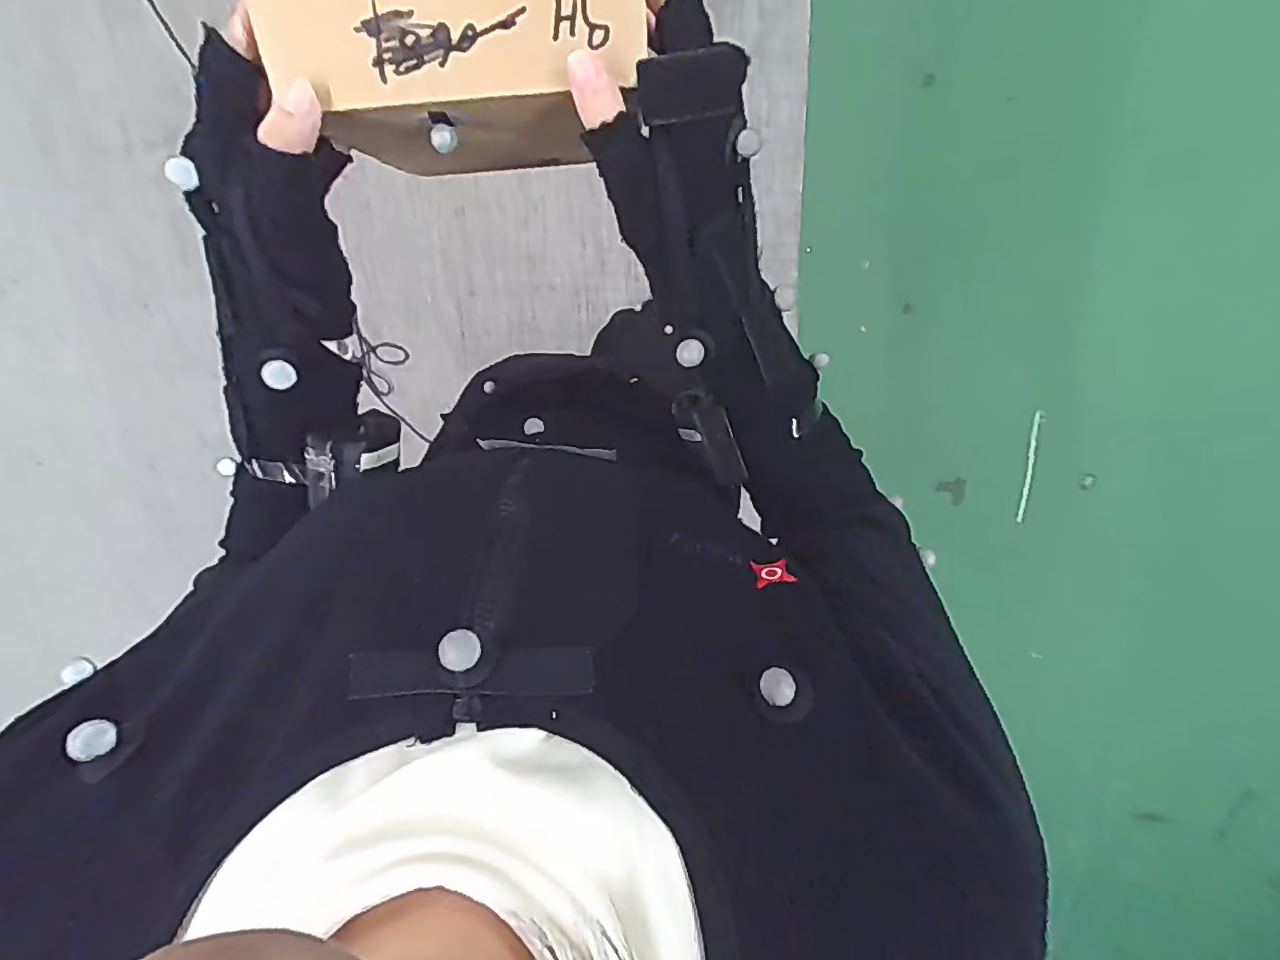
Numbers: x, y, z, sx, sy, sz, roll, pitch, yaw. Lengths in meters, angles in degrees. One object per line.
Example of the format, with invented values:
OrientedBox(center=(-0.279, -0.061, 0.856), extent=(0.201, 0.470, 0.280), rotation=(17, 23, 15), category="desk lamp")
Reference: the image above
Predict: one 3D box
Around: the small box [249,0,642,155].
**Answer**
OrientedBox(center=(-0.090, -0.292, 0.282), extent=(0.168, 0.176, 0.179), rotation=(-5, 110, -1), category="small box")
